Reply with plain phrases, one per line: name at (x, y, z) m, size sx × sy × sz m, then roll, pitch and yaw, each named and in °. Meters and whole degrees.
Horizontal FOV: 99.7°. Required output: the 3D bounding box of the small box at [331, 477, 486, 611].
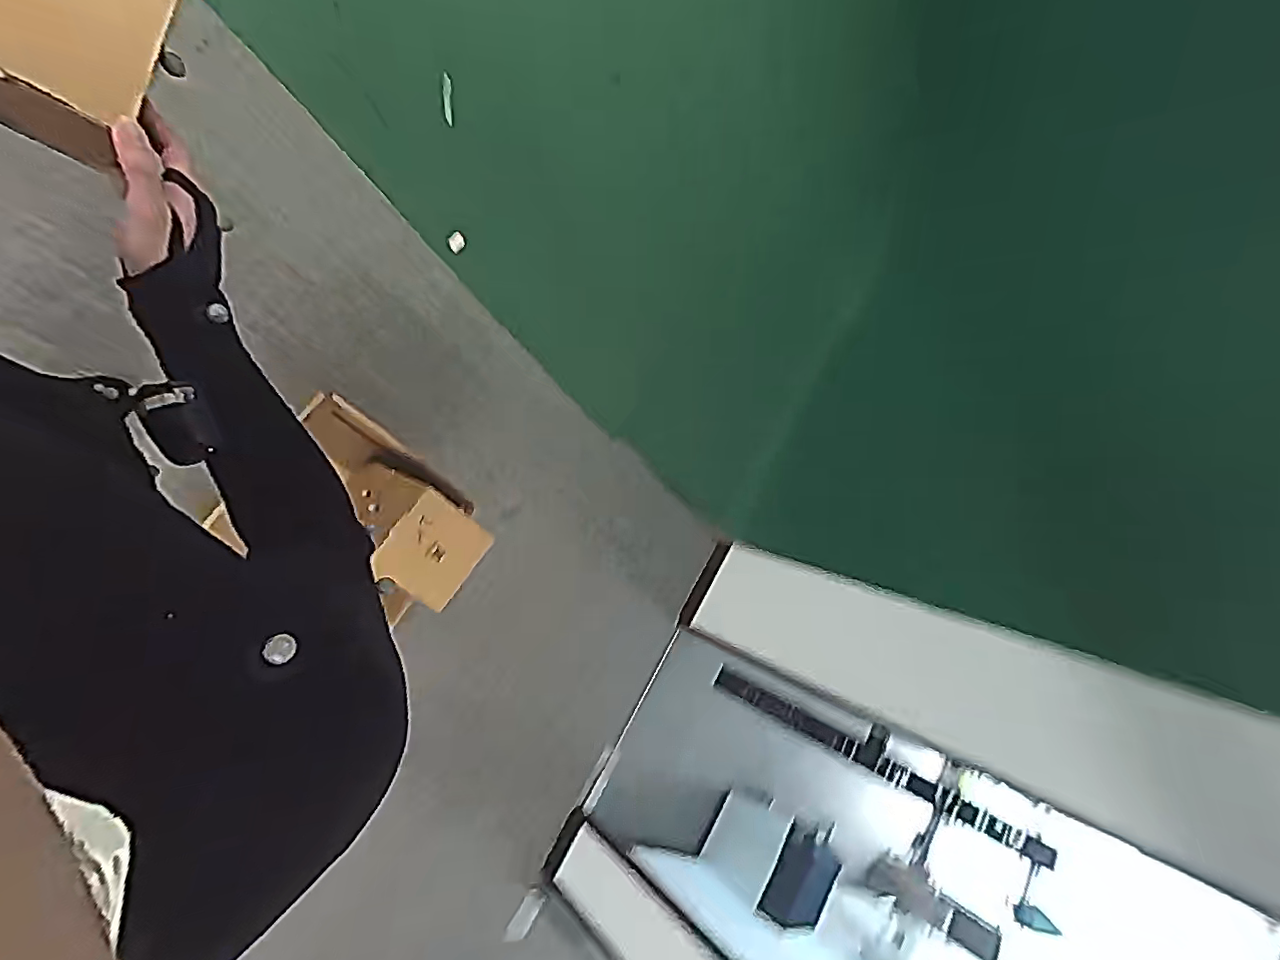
small box at (-0.435, 0.113, 1.018) m, size 0.168 × 0.176 × 0.179 m, roll -55°, pitch 132°, yaw -21°

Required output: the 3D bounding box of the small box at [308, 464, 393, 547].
small box at (-0.548, 0.083, 1.133) m, size 0.168 × 0.176 × 0.179 m, roll -56°, pitch 133°, yaw -19°
